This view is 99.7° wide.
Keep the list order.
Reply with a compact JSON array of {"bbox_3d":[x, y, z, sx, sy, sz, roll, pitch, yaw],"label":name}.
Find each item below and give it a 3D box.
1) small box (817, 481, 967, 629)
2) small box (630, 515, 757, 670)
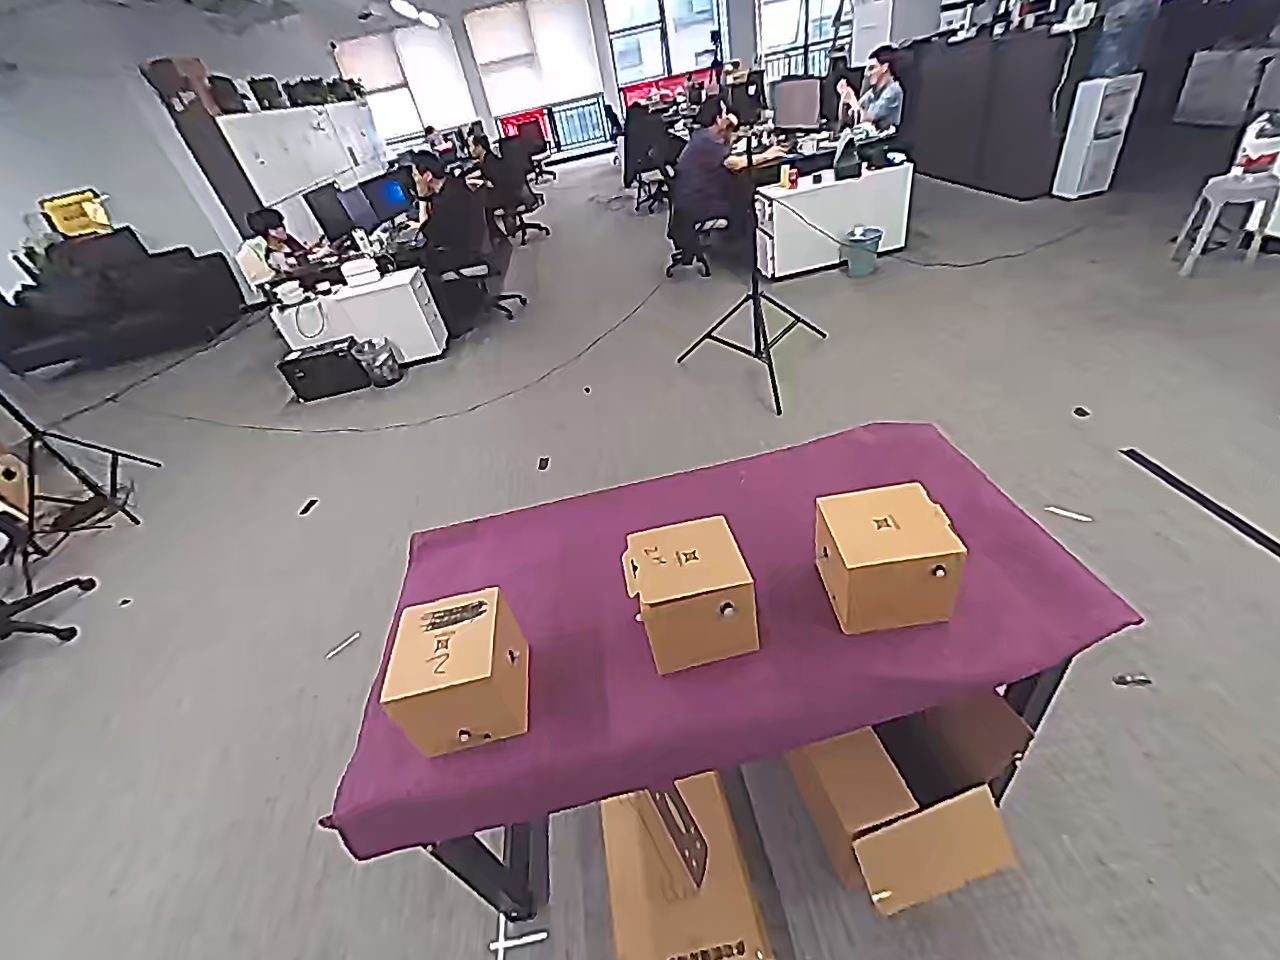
[{"bbox_3d":[0.404,0.128,0.898,0.179,0.176,0.168,-9,37,5],"label":"small box"},{"bbox_3d":[0.091,0.190,0.912,0.179,0.176,0.168,-14,35,-1],"label":"small box"}]
